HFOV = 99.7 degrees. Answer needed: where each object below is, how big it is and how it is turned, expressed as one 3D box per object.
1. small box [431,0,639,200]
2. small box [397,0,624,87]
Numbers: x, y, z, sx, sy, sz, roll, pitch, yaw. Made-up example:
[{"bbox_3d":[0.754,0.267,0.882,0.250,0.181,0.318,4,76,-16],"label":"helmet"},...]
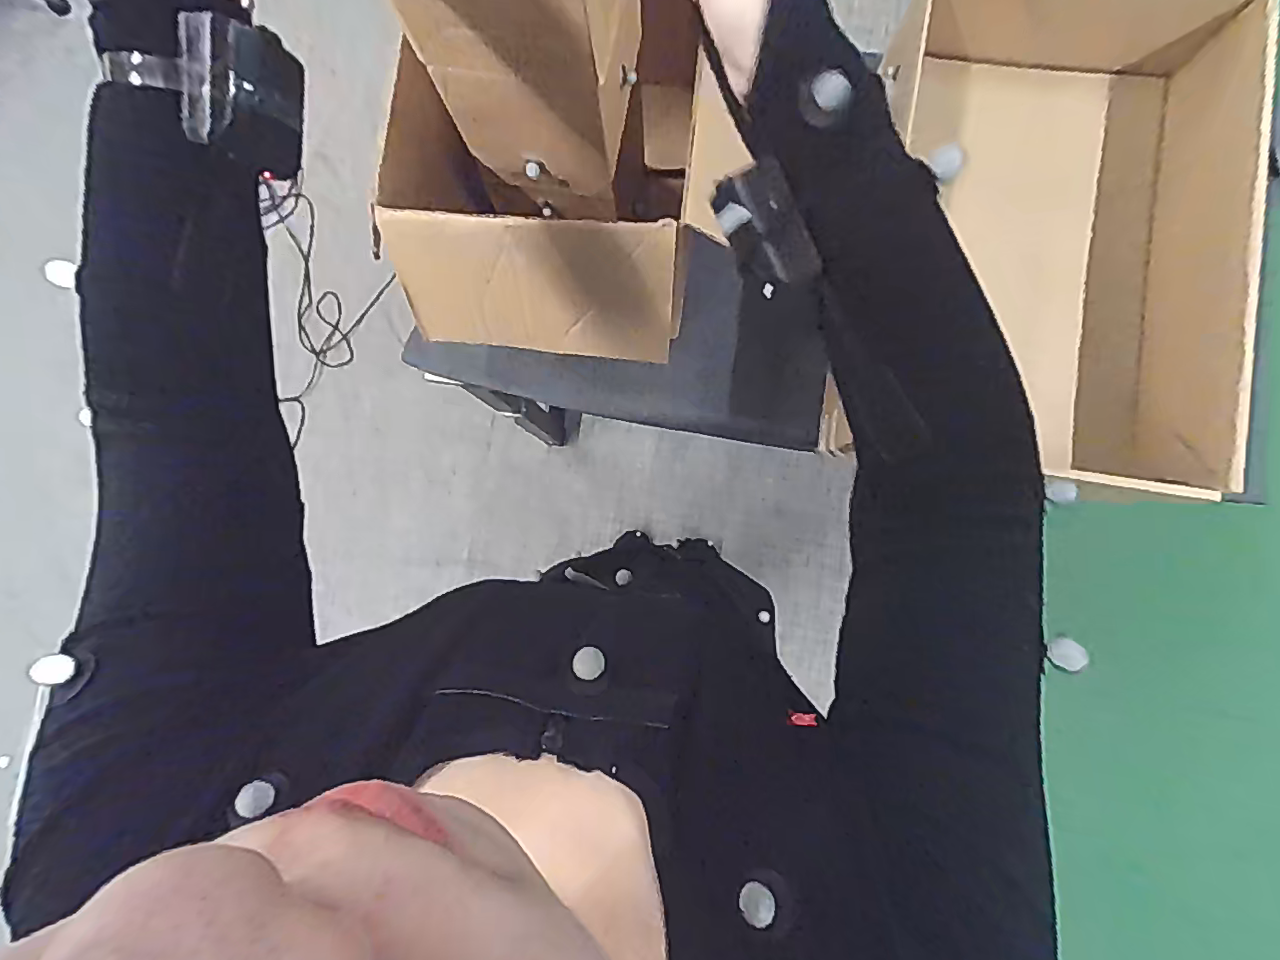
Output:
[{"bbox_3d":[-0.096,-0.443,0.583,0.168,0.176,0.179,11,88,3],"label":"small box"},{"bbox_3d":[-0.106,-0.453,0.422,0.179,0.176,0.168,12,86,3],"label":"small box"}]
